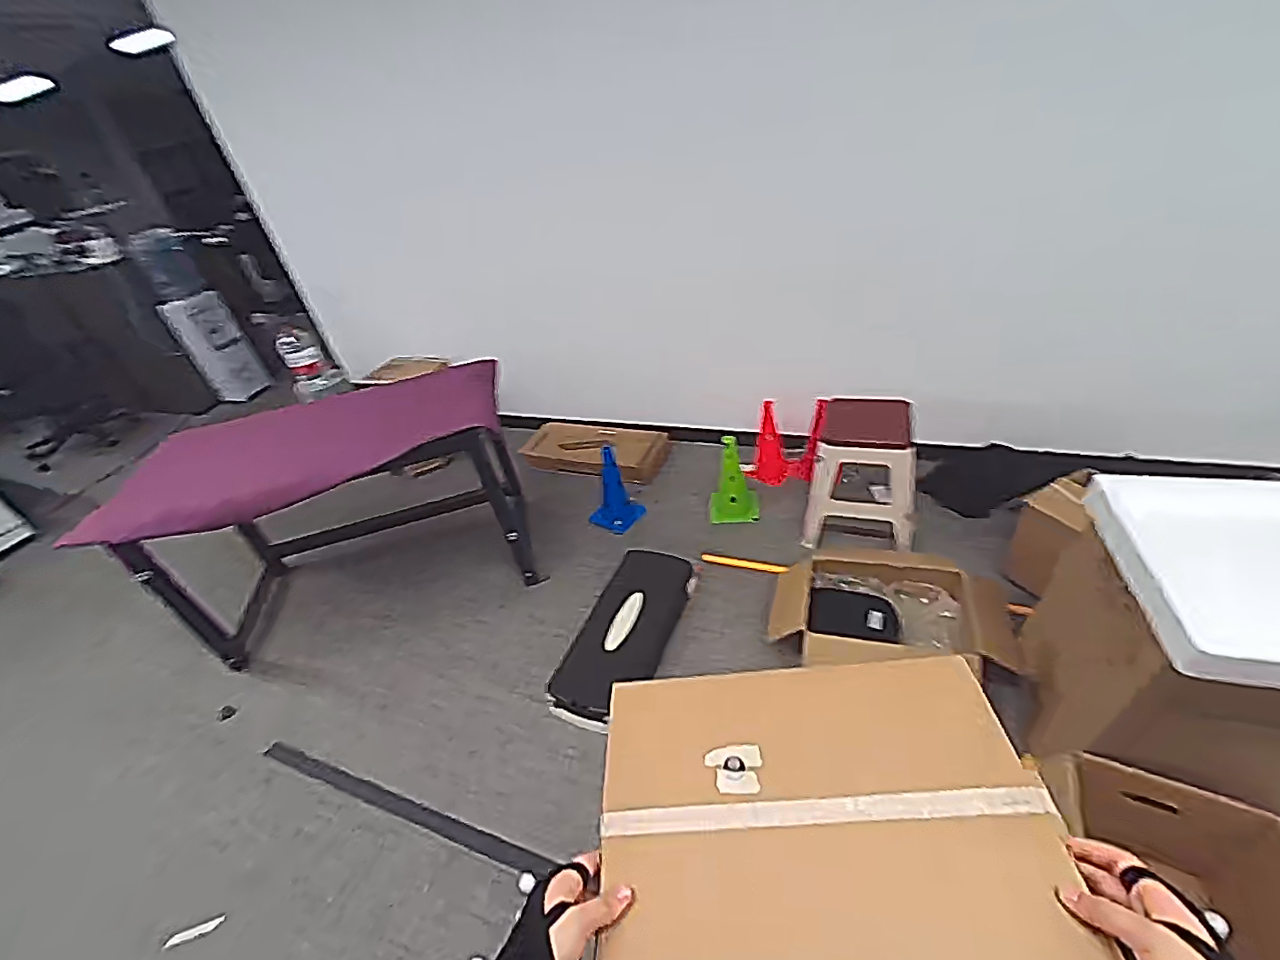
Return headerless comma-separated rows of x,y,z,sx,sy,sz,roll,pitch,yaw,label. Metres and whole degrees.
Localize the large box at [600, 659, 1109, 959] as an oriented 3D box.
0.190,0.443,0.605,0.408,0.320,0.320,-9,35,7,large box
